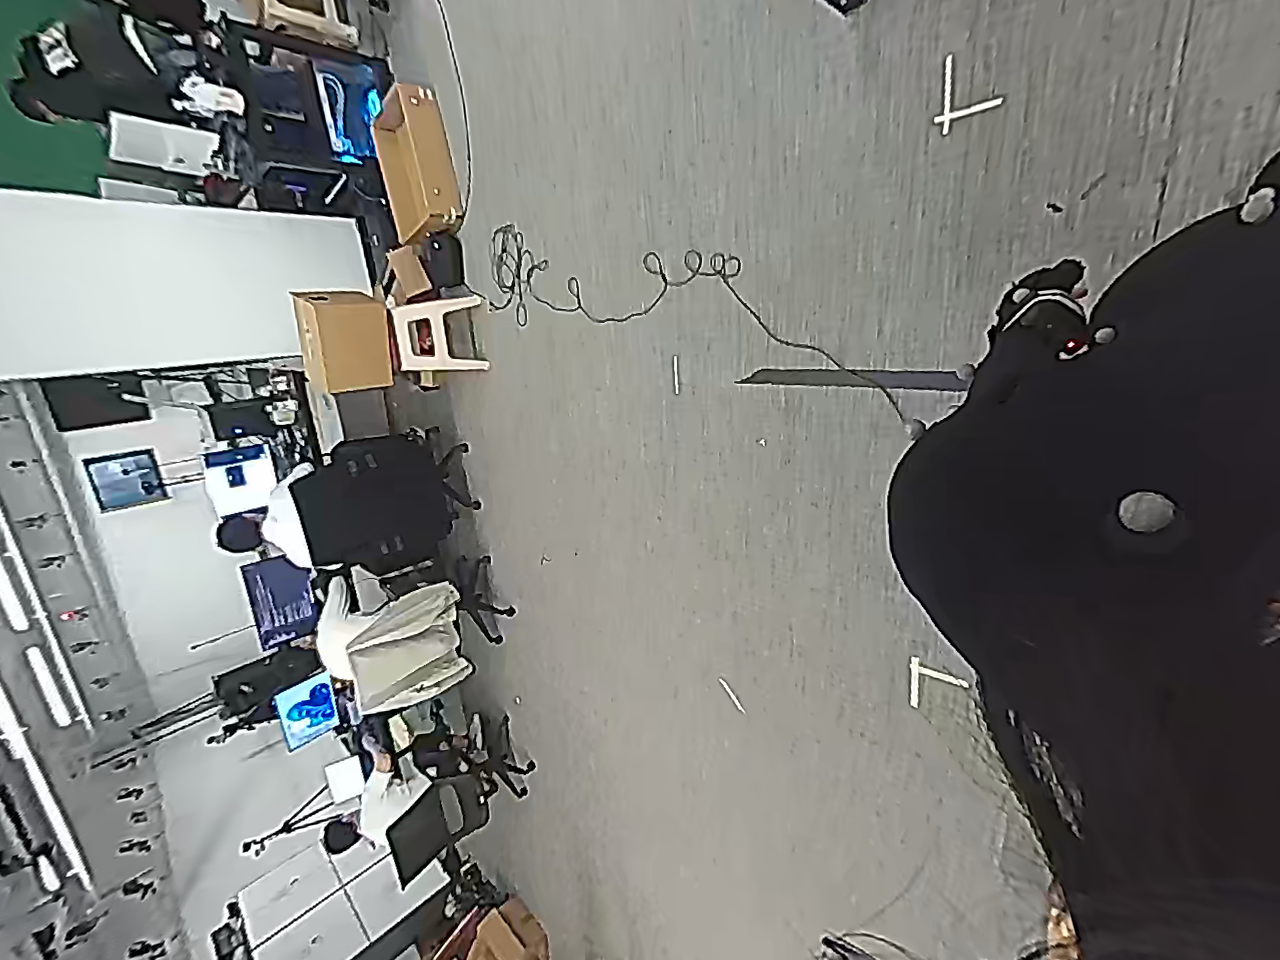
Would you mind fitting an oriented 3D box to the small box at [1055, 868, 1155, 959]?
[{"bbox_3d":[1.169,1.144,1.357,0.168,0.176,0.179,9,110,45],"label":"small box"}]
